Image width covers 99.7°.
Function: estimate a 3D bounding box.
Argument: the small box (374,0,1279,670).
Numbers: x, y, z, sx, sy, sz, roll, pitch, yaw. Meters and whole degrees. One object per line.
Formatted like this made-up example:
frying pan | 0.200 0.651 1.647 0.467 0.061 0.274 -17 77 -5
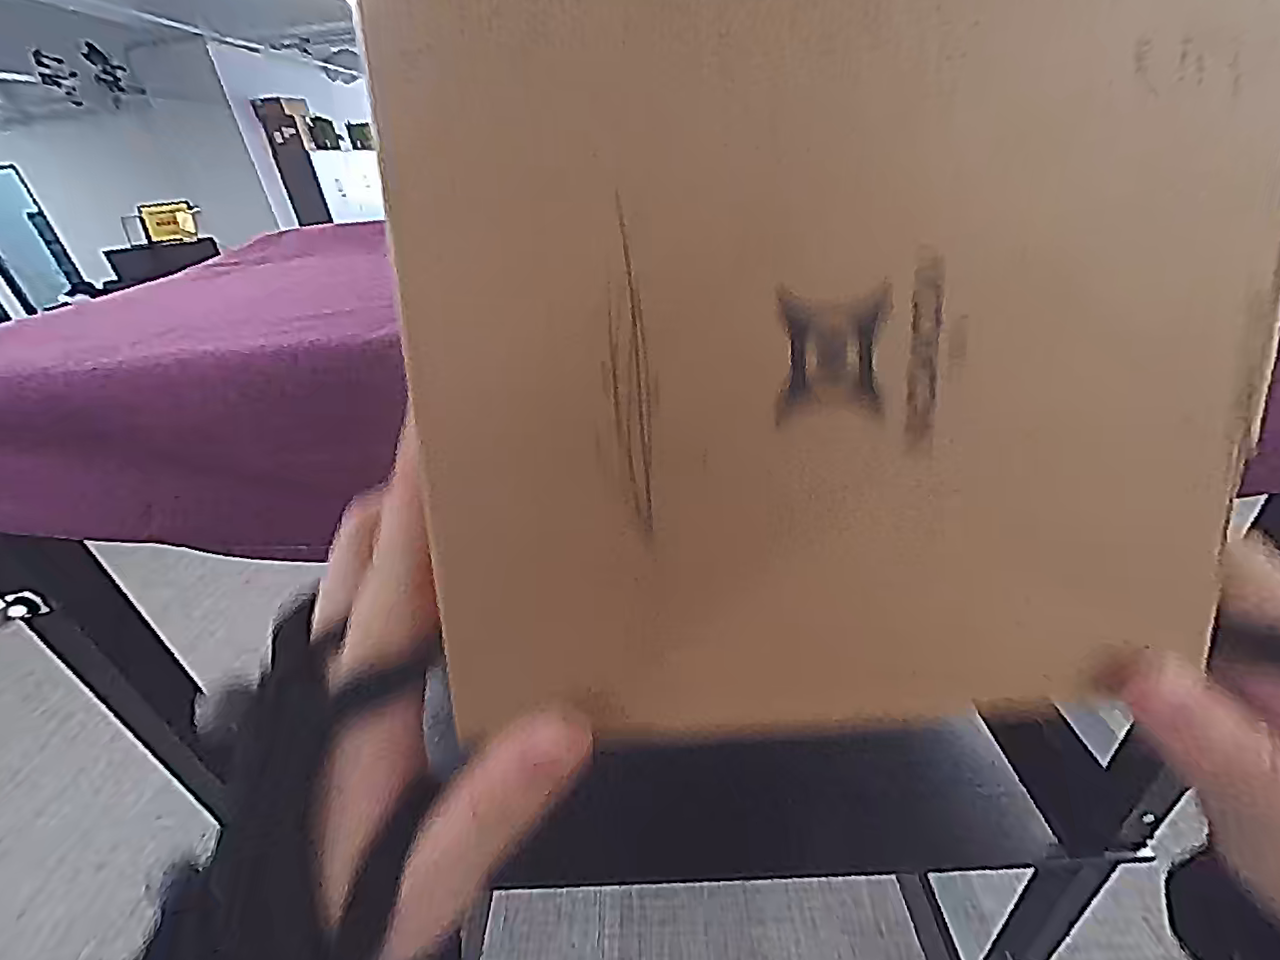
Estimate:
small box | 0.040 -0.059 0.183 0.179 0.168 0.176 -3 13 -1
